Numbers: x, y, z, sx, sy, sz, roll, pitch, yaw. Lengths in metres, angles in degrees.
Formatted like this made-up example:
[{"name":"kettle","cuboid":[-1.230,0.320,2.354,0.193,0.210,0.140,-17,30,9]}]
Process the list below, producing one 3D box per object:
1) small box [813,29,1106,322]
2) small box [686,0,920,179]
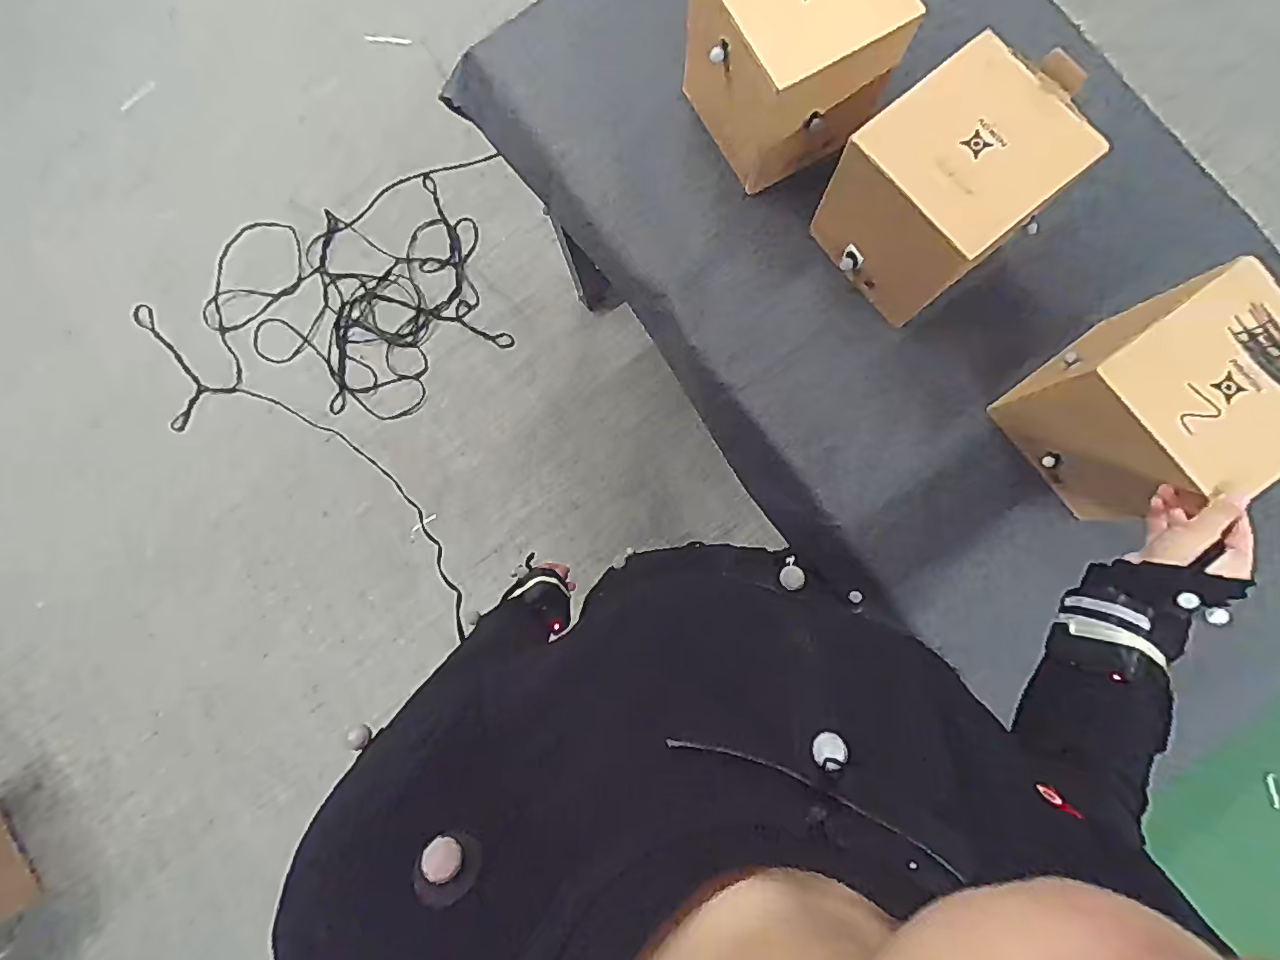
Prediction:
[{"name":"small box","cuboid":[0.319,-0.309,0.584,0.179,0.176,0.168,-40,83,-2]},{"name":"small box","cuboid":[0.164,-0.478,0.607,0.168,0.176,0.179,-29,83,-1]}]
